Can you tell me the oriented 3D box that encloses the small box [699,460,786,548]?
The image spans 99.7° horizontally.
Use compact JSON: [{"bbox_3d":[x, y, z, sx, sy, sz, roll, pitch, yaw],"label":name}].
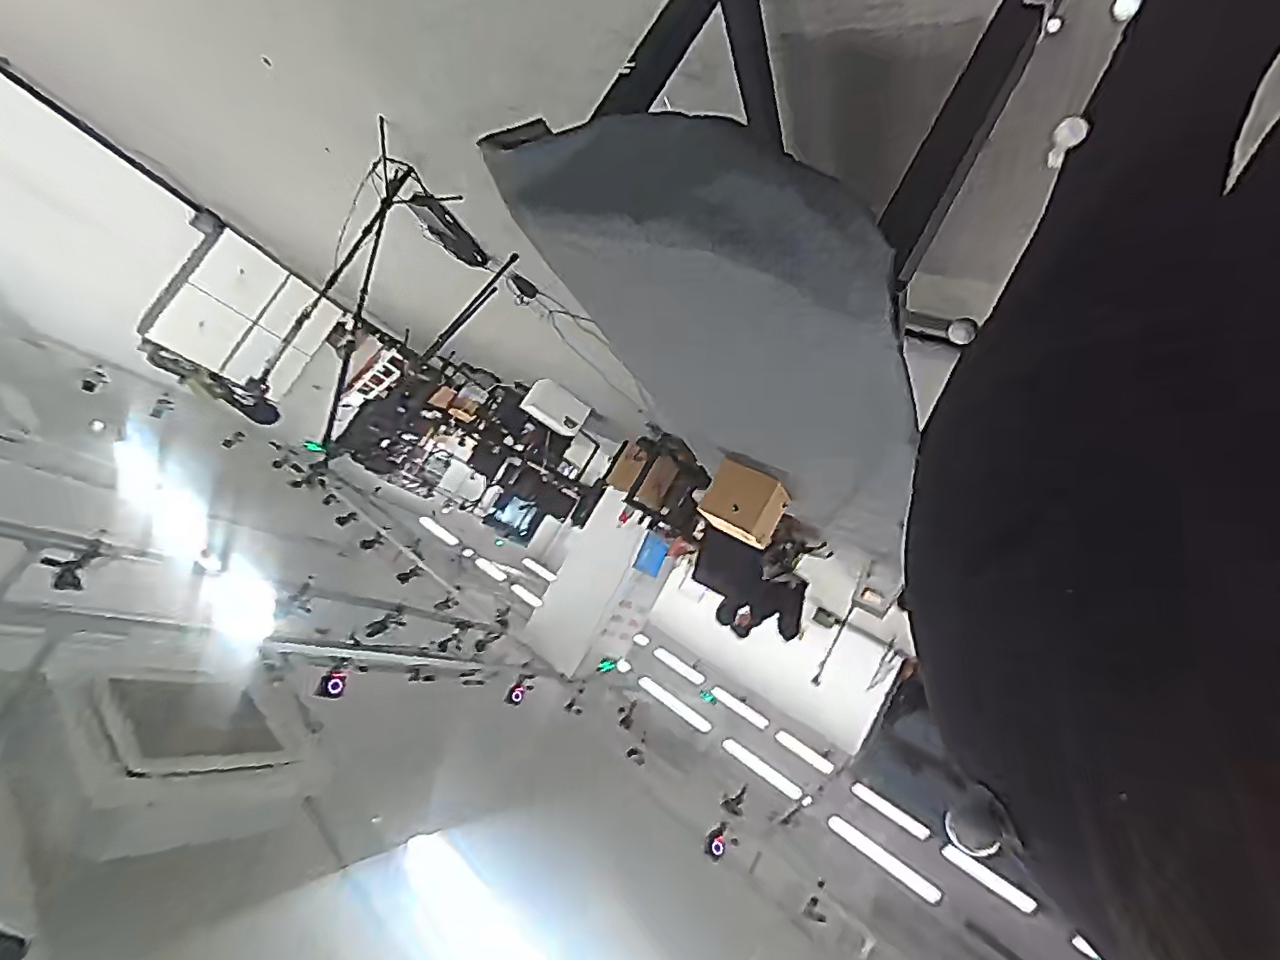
[{"bbox_3d":[0.301,0.065,1.539,0.179,0.176,0.168,26,171,32],"label":"small box"}]
